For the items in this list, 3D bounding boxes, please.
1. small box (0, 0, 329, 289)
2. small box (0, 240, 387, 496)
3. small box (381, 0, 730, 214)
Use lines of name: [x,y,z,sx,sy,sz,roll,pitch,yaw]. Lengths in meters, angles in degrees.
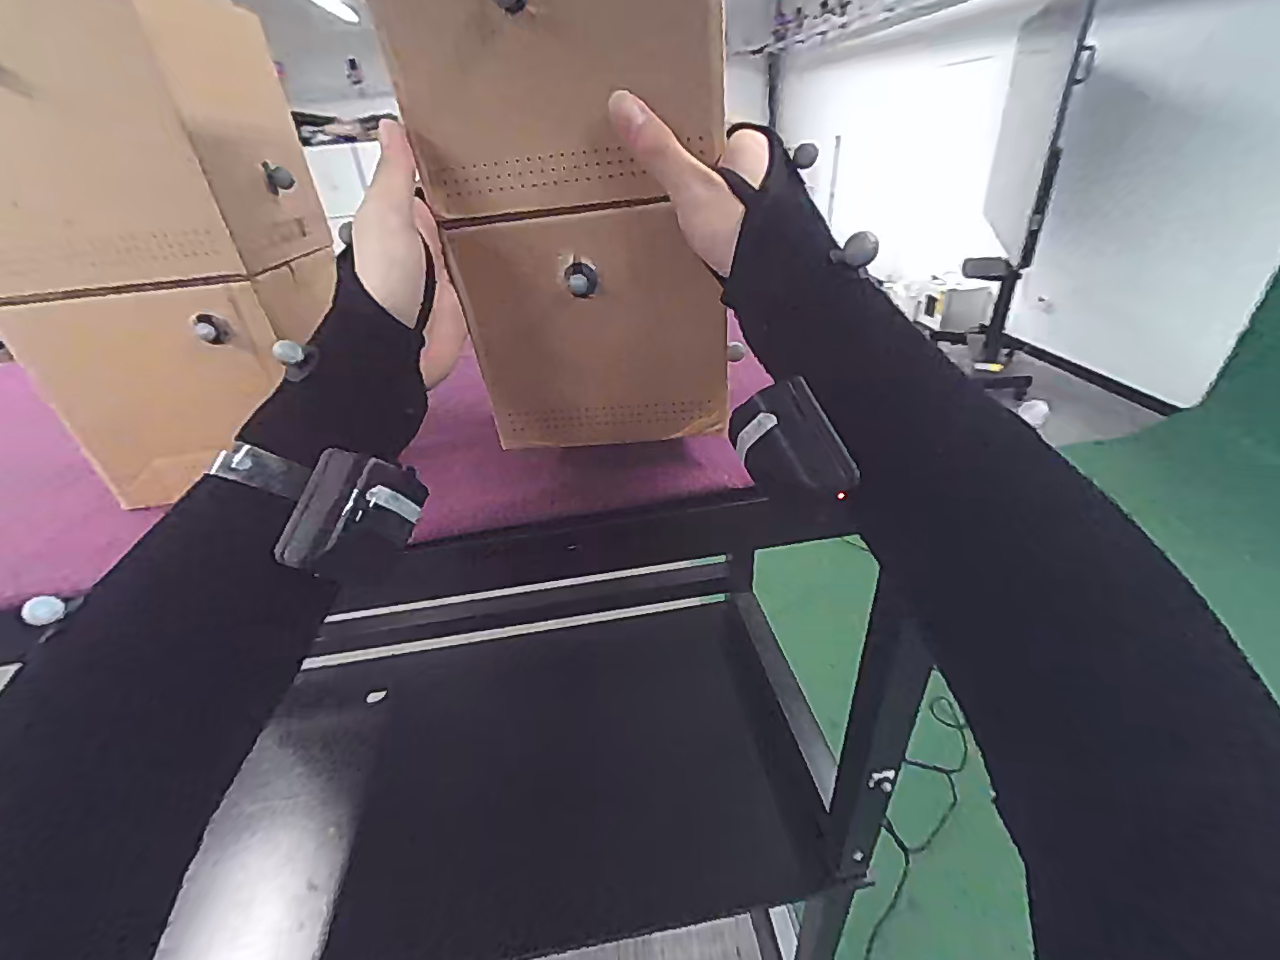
small box: [-0.364,-0.240,0.383,0.179,0.176,0.168,-7,32,-4]
small box: [-0.352,-0.100,0.470,0.179,0.176,0.168,-8,33,-5]
small box: [-0.042,-0.271,0.324,0.179,0.176,0.168,-4,38,7]
